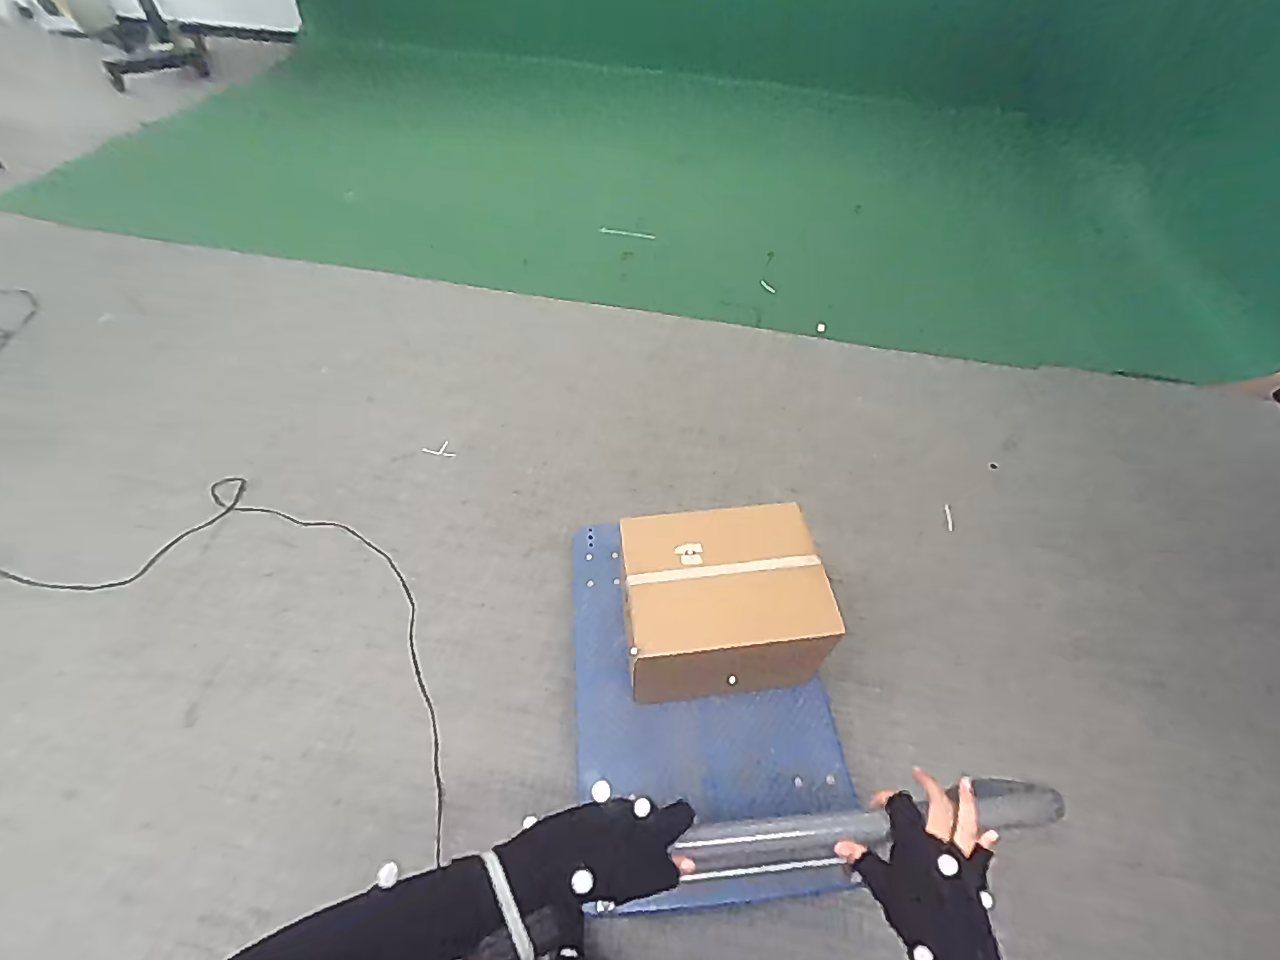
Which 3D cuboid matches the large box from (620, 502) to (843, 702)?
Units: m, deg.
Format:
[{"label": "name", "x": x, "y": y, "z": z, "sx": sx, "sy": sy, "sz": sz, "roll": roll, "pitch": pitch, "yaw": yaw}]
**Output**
[{"label": "large box", "x": 0.176, "y": 0.282, "z": 1.229, "sx": 0.408, "sy": 0.320, "sz": 0.320, "roll": -6, "pitch": 52, "yaw": -5}]
